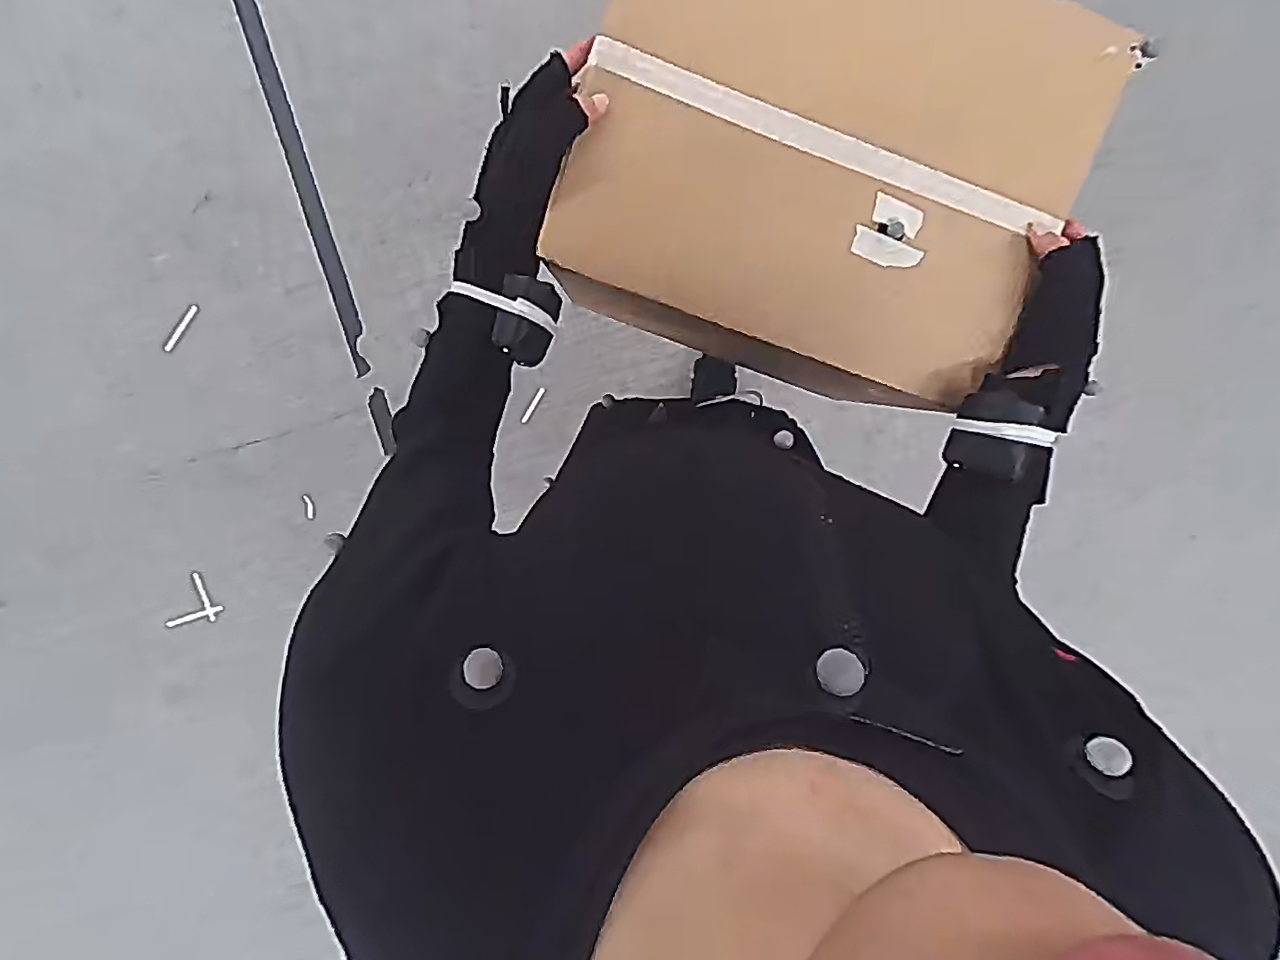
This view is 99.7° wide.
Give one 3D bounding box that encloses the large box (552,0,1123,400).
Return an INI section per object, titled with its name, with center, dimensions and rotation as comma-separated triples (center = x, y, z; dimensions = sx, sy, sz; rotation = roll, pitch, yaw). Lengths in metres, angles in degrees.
[large box]
center = 0.150, -0.301, 0.589
dimensions = 0.408, 0.320, 0.320
rotation = 19, 101, -6
